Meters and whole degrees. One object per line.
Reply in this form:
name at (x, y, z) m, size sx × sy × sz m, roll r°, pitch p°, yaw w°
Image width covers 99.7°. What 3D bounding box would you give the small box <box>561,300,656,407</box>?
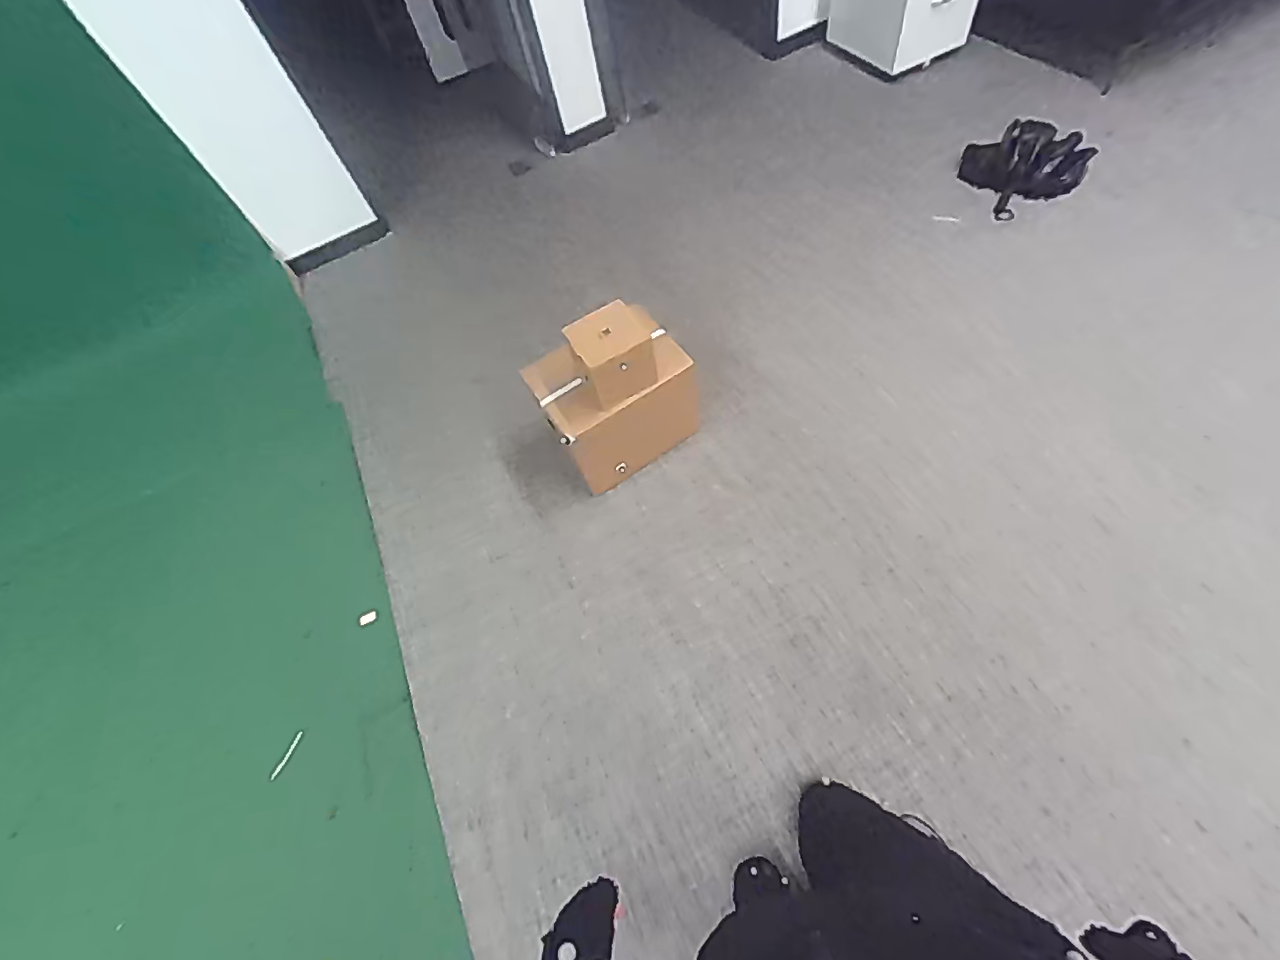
small box at (-0.076, -0.320, 1.391) m, size 0.179 × 0.176 × 0.168 m, roll -30°, pitch 61°, yaw -8°
